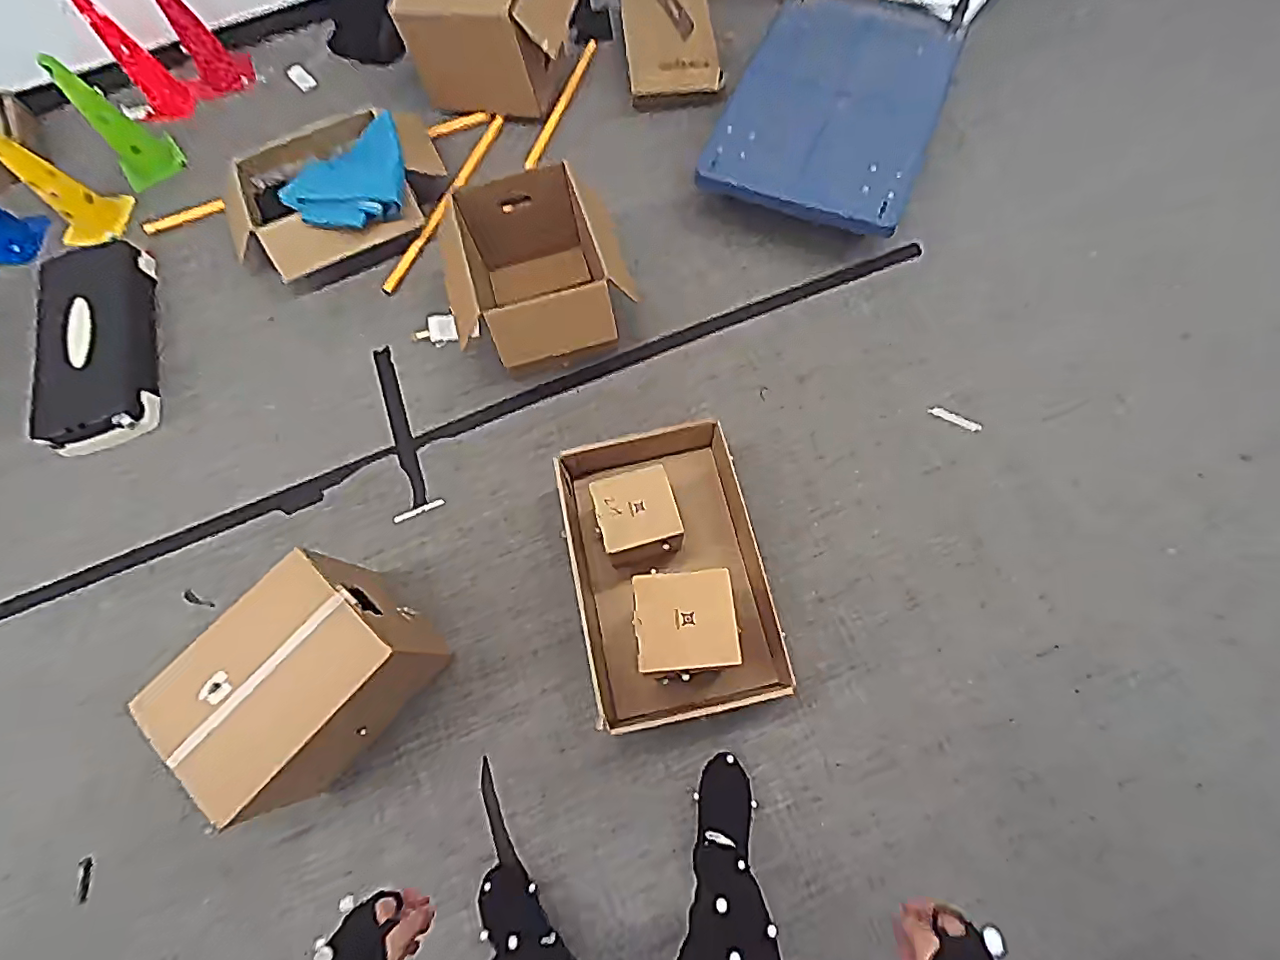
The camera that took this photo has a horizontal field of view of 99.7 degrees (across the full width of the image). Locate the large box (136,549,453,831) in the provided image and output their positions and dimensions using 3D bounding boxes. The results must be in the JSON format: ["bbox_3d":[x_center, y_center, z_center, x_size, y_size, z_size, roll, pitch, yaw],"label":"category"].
[{"bbox_3d":[-0.690,0.416,1.149,0.320,0.320,0.408,39,78,16],"label":"large box"}]

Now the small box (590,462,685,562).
[{"bbox_3d":[-0.005,0.078,1.244,0.179,0.176,0.168,-16,71,-3],"label":"small box"}]
